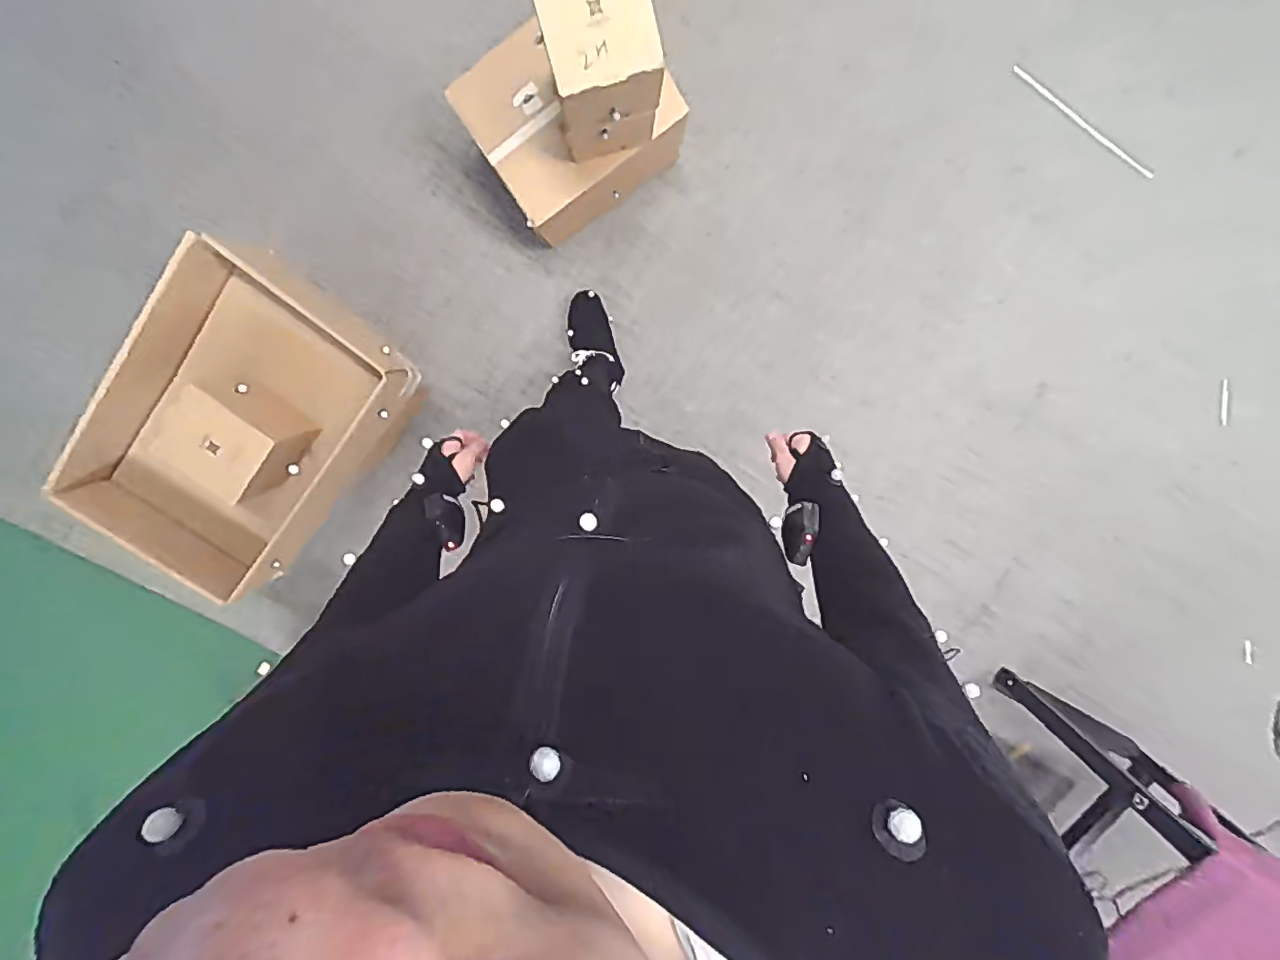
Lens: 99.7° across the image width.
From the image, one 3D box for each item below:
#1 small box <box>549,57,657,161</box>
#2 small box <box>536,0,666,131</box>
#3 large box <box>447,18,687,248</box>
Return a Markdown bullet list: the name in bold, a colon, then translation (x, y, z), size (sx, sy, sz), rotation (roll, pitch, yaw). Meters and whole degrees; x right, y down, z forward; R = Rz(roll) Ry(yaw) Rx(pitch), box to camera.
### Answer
- **small box**: translation (-0.071, -0.734, 1.013), size (0.168, 0.176, 0.179), rotation (-15, 105, 3)
- **small box**: translation (-0.064, -0.692, 0.853), size (0.168, 0.176, 0.179), rotation (-15, 106, 3)
- **large box**: translation (-0.149, -0.806, 1.246), size (0.408, 0.320, 0.320), rotation (-34, 102, 8)
